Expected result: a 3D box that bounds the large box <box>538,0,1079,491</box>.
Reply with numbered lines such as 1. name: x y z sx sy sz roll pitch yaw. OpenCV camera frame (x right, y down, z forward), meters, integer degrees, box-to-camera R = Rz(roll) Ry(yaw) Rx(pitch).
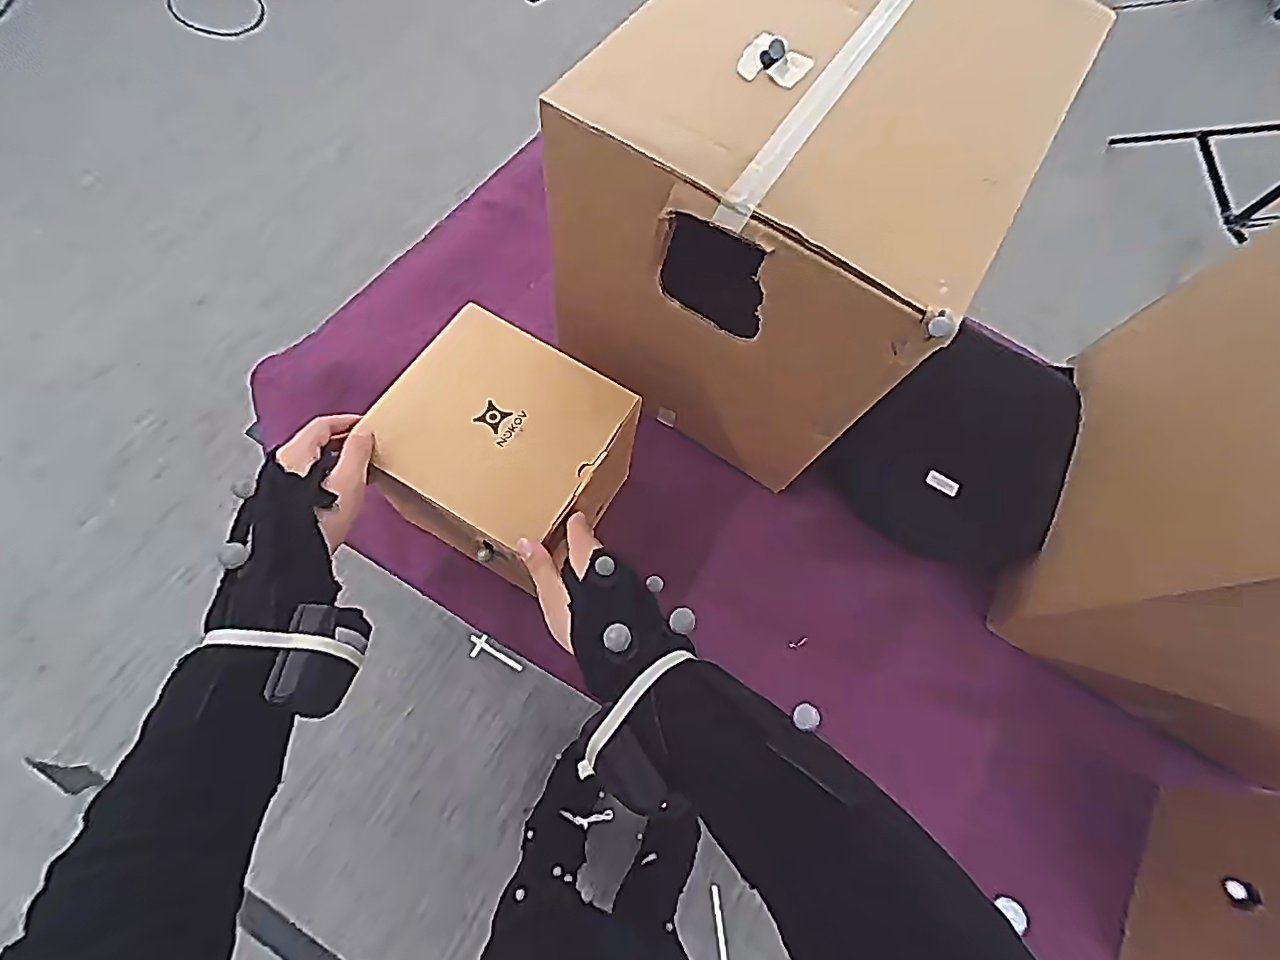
1. large box: 0.143 -0.263 0.565 0.320 0.320 0.408 32 71 7
